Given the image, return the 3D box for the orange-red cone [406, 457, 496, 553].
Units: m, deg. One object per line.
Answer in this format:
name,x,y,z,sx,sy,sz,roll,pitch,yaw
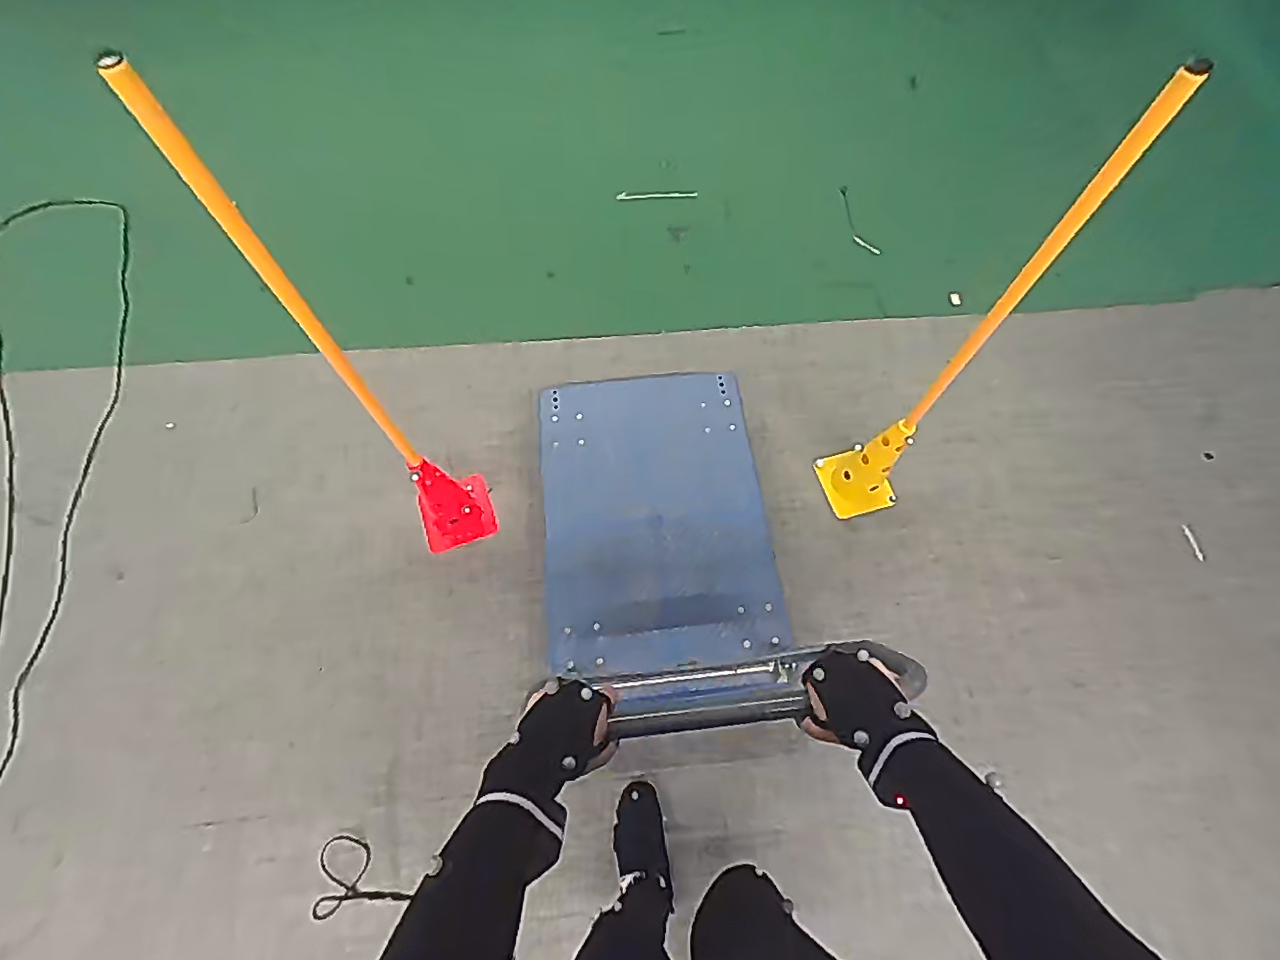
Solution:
orange-red cone,-0.528,0.032,1.412,0.199,0.360,0.198,-18,68,-7
